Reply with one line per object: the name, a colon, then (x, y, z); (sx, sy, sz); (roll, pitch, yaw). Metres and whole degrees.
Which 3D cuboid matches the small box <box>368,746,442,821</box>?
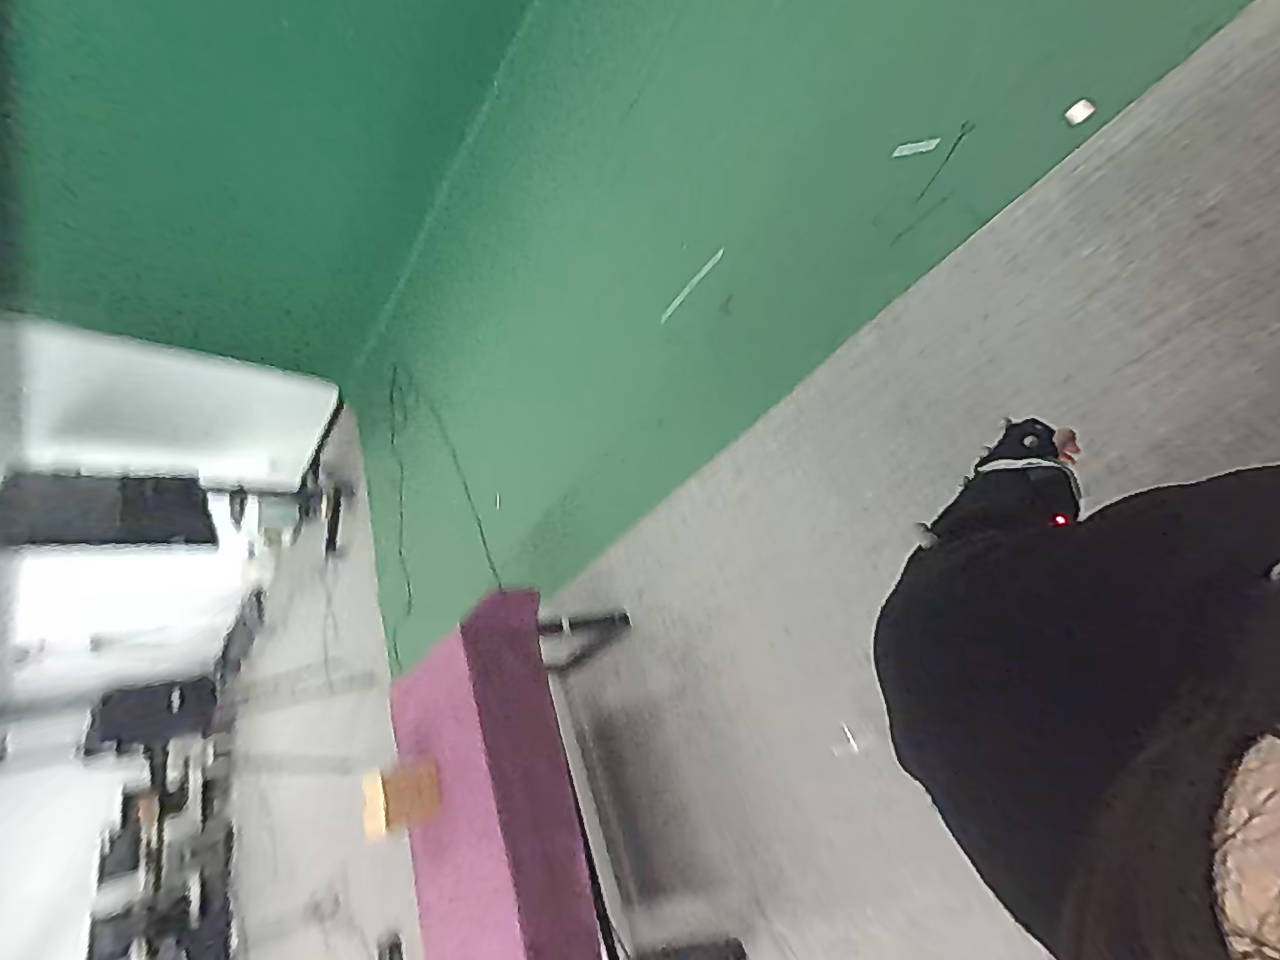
small box: (-0.738, 0.955, 1.707); (0.179, 0.176, 0.168); (-33, 61, 37)
